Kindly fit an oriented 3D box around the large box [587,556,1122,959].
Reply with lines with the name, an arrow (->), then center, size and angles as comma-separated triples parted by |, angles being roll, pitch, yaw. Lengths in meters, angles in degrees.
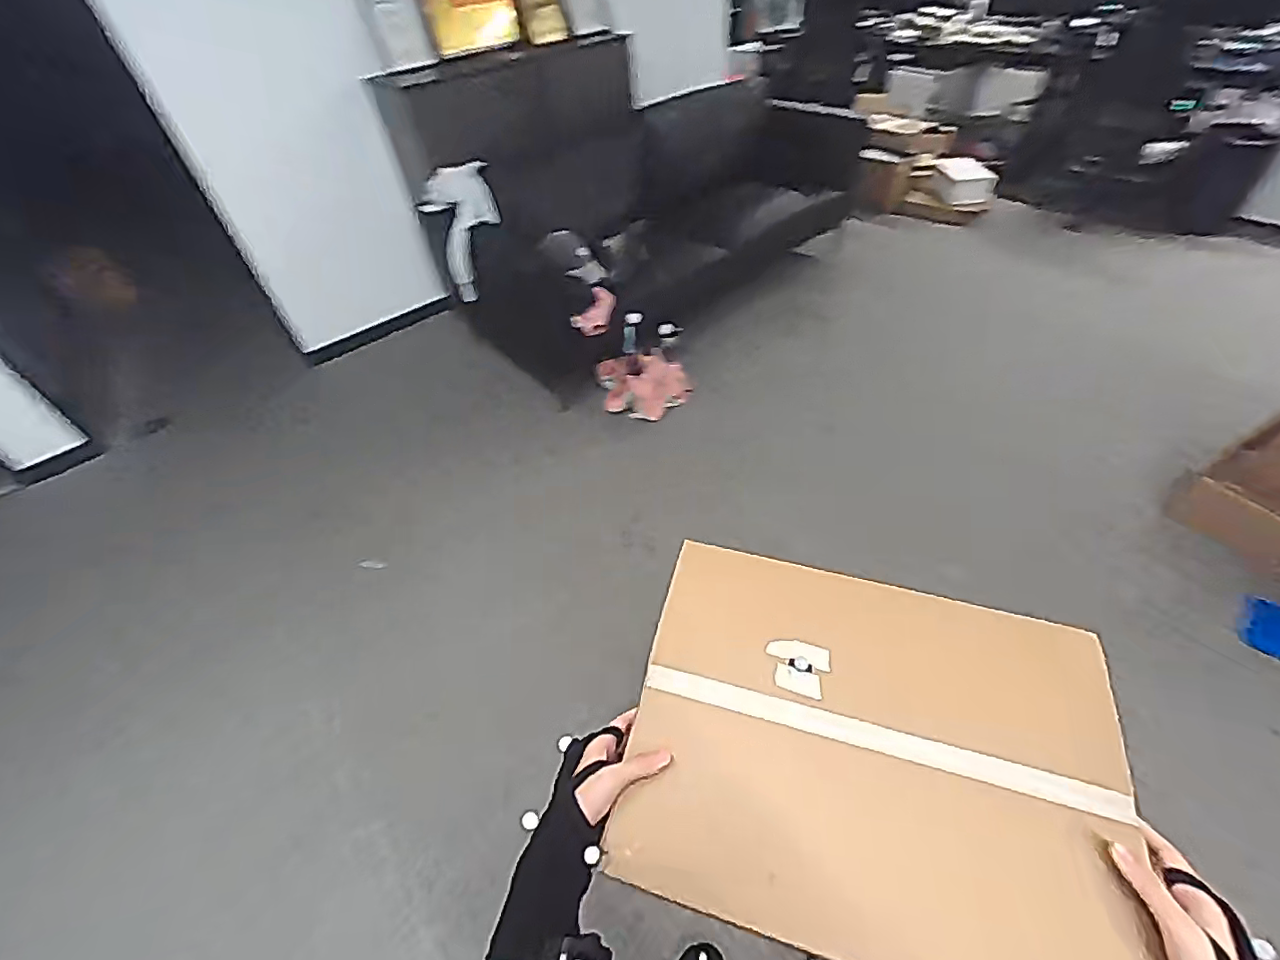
large box -> 0.195, 0.325, 0.605 | 0.408, 0.320, 0.320 | 11, 54, 12
